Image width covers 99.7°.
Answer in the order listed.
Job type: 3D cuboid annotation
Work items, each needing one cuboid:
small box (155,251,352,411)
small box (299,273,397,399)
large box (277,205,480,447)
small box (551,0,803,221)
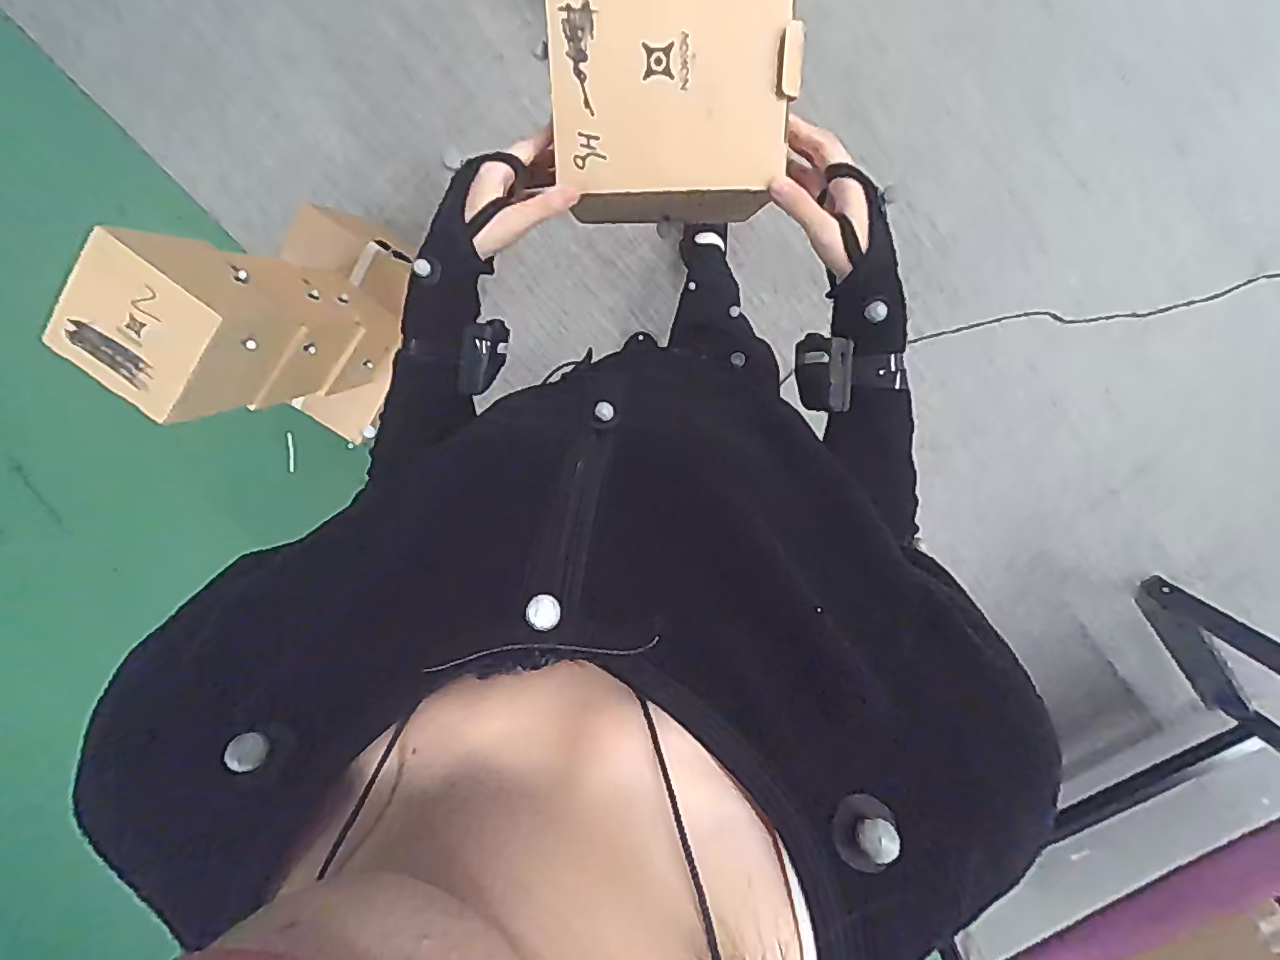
[{"bbox_3d":[-0.615,-0.241,0.886,0.168,0.176,0.179,40,104,-11],"label":"small box"},{"bbox_3d":[-0.609,-0.284,1.042,0.179,0.176,0.168,39,104,-11],"label":"small box"},{"bbox_3d":[-0.642,-0.357,1.278,0.320,0.320,0.408,34,107,-8],"label":"large box"},{"bbox_3d":[0.023,-0.322,0.454,0.179,0.176,0.168,-1,107,-1],"label":"small box"}]
